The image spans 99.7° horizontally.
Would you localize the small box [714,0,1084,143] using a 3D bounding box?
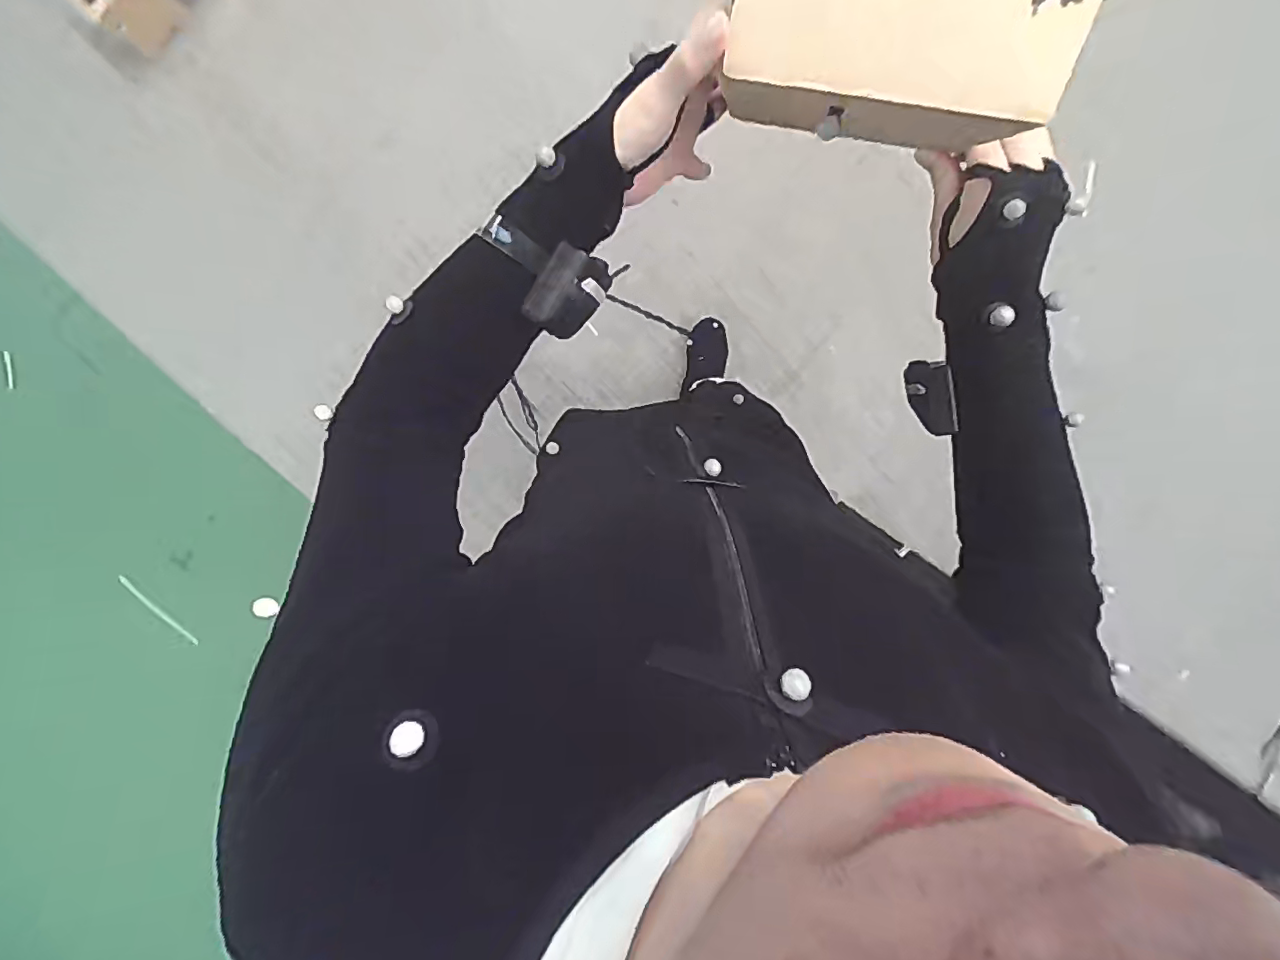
[{"bbox_3d":[0.152,-0.316,0.324,0.179,0.176,0.168,13,117,7],"label":"small box"}]
